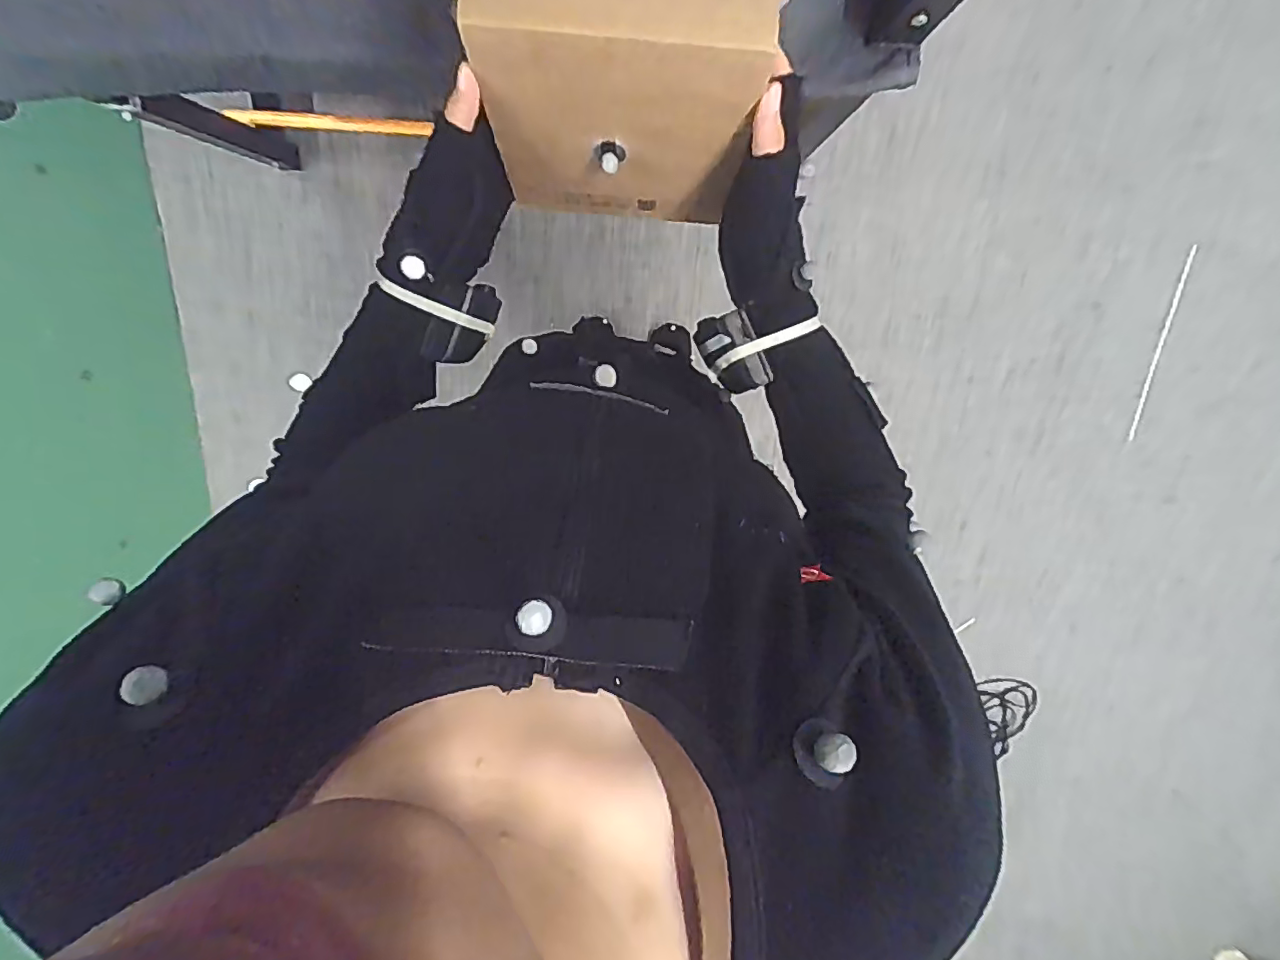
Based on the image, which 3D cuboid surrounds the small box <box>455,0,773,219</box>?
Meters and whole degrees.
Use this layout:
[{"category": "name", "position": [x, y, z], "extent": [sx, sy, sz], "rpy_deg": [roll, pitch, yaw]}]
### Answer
[{"category": "small box", "position": [-0.010, -0.303, 0.361], "extent": [0.168, 0.176, 0.179], "rpy_deg": [4, 84, -2]}]
